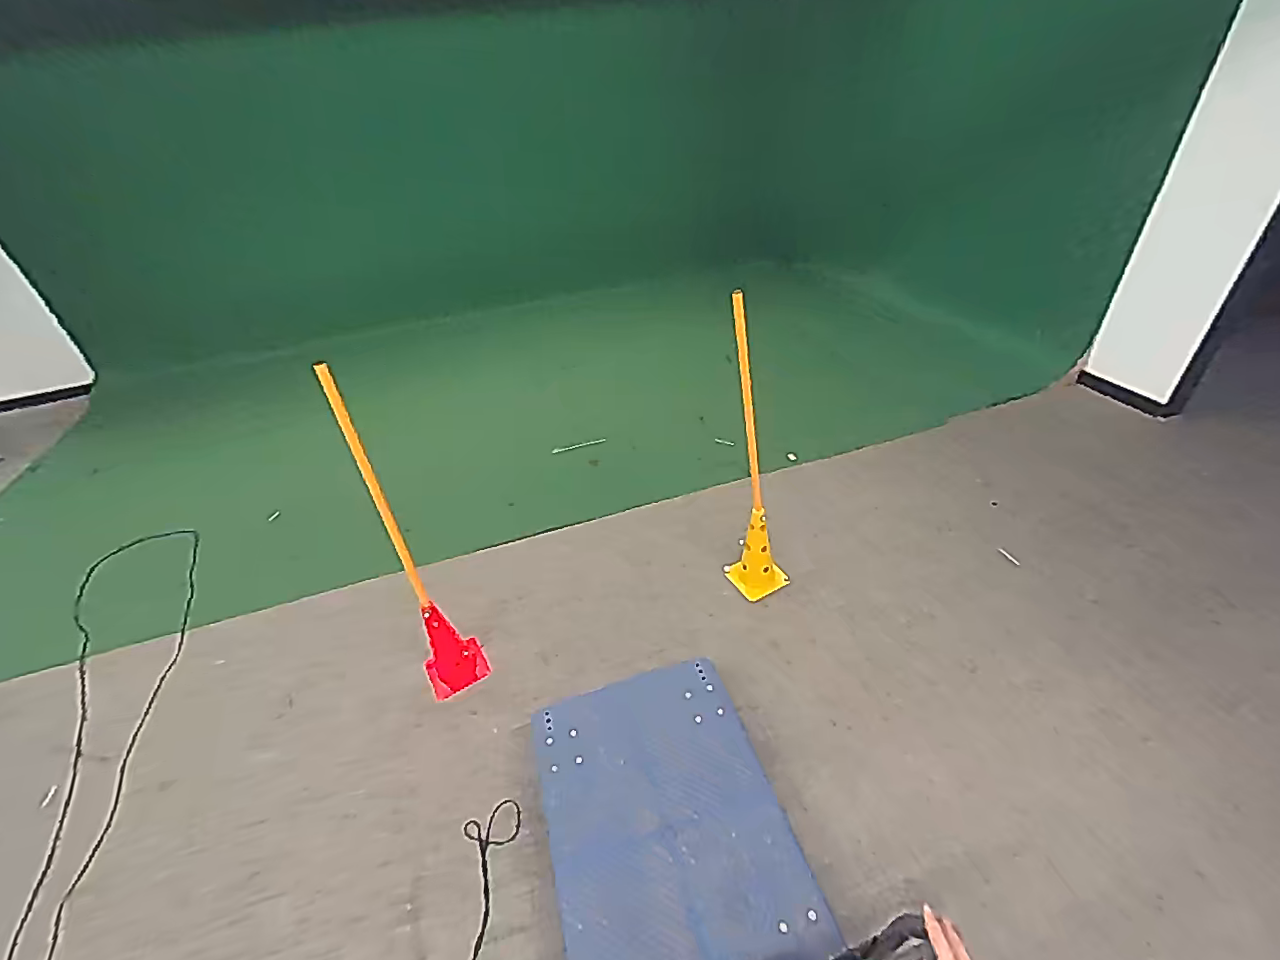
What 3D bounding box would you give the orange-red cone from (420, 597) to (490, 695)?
[{"bbox_3d":[-0.678,0.534,1.855,0.199,0.360,0.198,-25,41,-21],"label":"orange-red cone"}]
